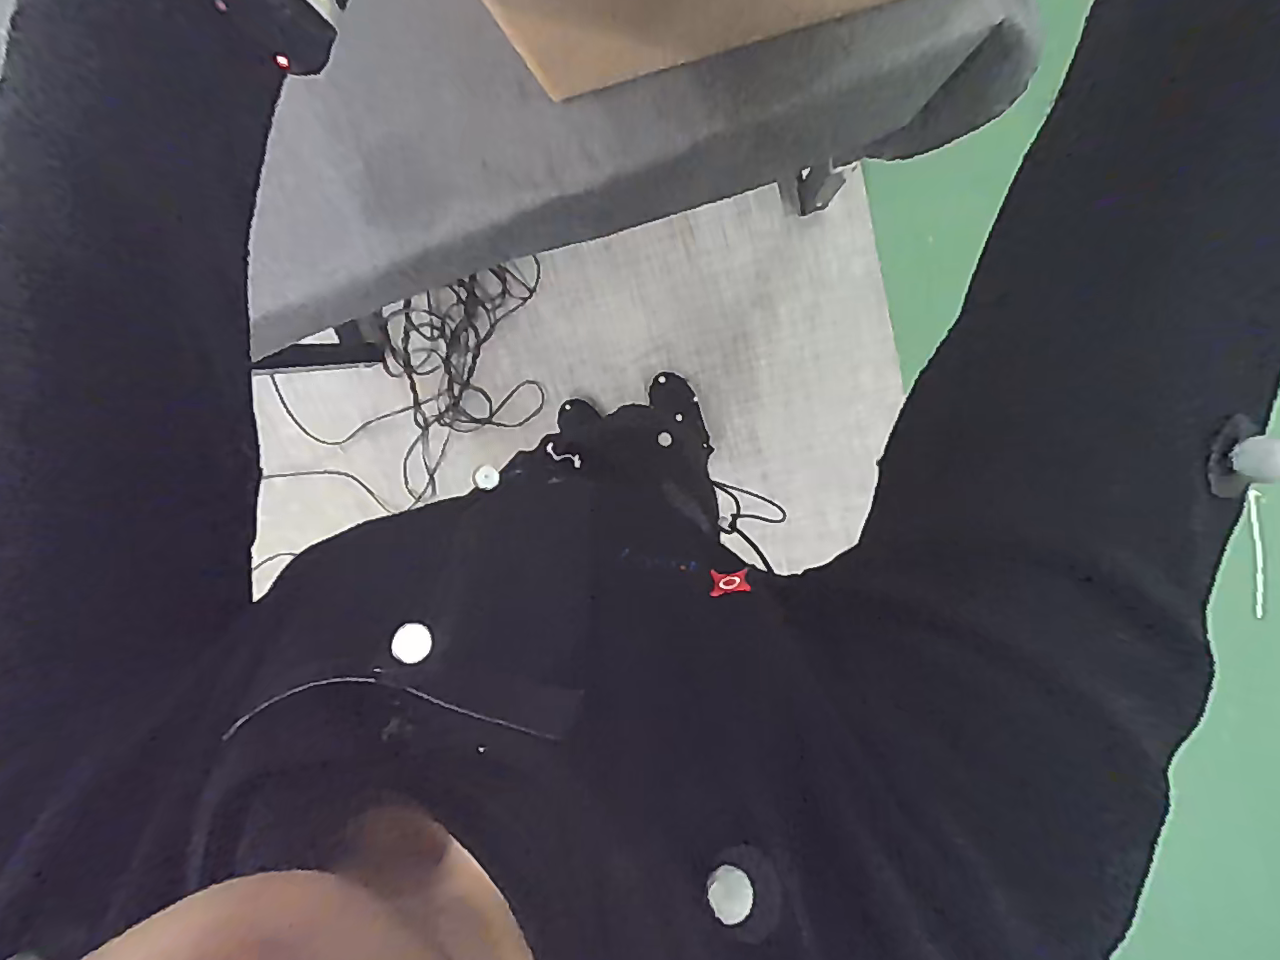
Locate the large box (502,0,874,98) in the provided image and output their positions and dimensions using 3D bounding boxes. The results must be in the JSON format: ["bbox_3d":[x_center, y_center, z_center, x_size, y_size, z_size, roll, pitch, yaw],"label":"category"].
[{"bbox_3d":[0.060,-0.517,0.324,0.408,0.320,0.320,-10,103,9],"label":"large box"}]
